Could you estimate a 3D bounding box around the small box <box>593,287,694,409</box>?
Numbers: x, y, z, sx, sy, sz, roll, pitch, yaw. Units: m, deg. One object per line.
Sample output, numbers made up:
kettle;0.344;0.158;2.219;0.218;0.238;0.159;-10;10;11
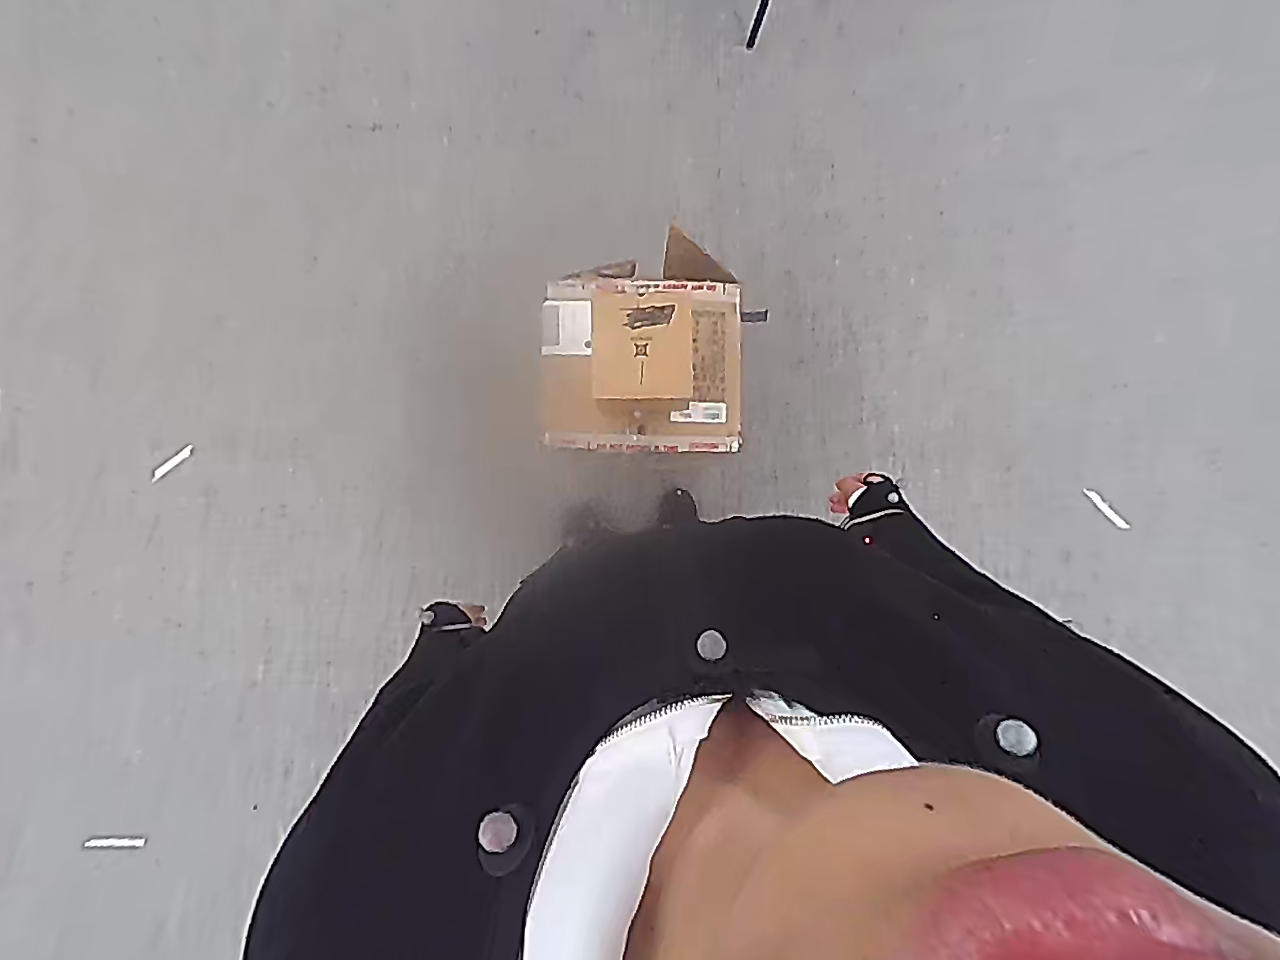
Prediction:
small box;0.004;-0.224;0.951;0.168;0.176;0.179;0;90;0
